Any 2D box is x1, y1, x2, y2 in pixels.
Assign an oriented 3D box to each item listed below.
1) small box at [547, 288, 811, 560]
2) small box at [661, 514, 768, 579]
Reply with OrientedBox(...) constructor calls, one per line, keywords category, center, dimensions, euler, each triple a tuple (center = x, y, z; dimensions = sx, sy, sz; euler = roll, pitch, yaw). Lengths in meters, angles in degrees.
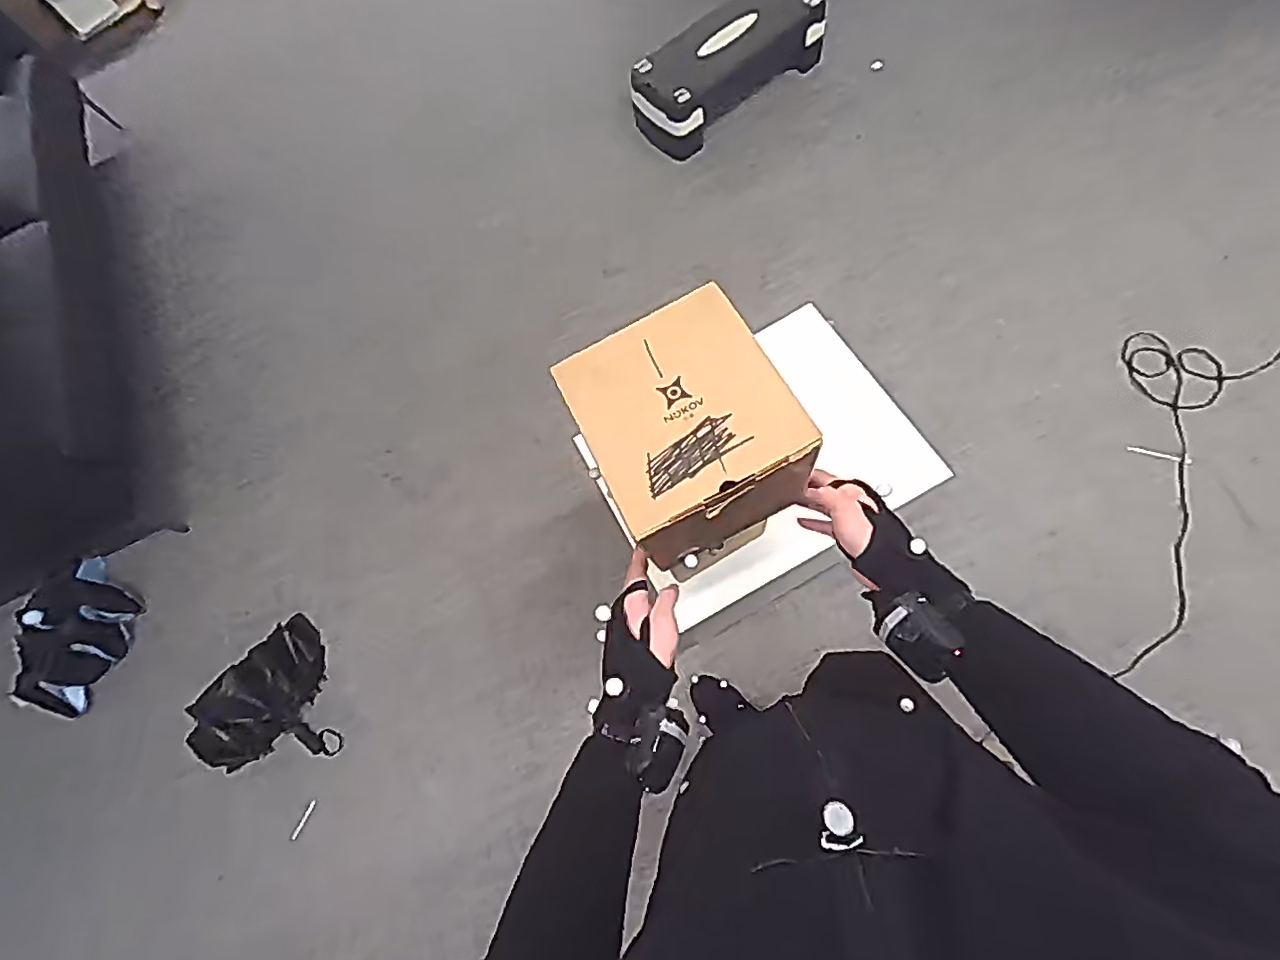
OrientedBox(category="small box", center=(0.040, -0.036, 0.517), dimensions=(0.168, 0.176, 0.179), euler=(-28, 69, 1))
OrientedBox(category="small box", center=(0.078, 0.034, 0.838), dimensions=(0.168, 0.176, 0.179), euler=(-30, 70, -1))
